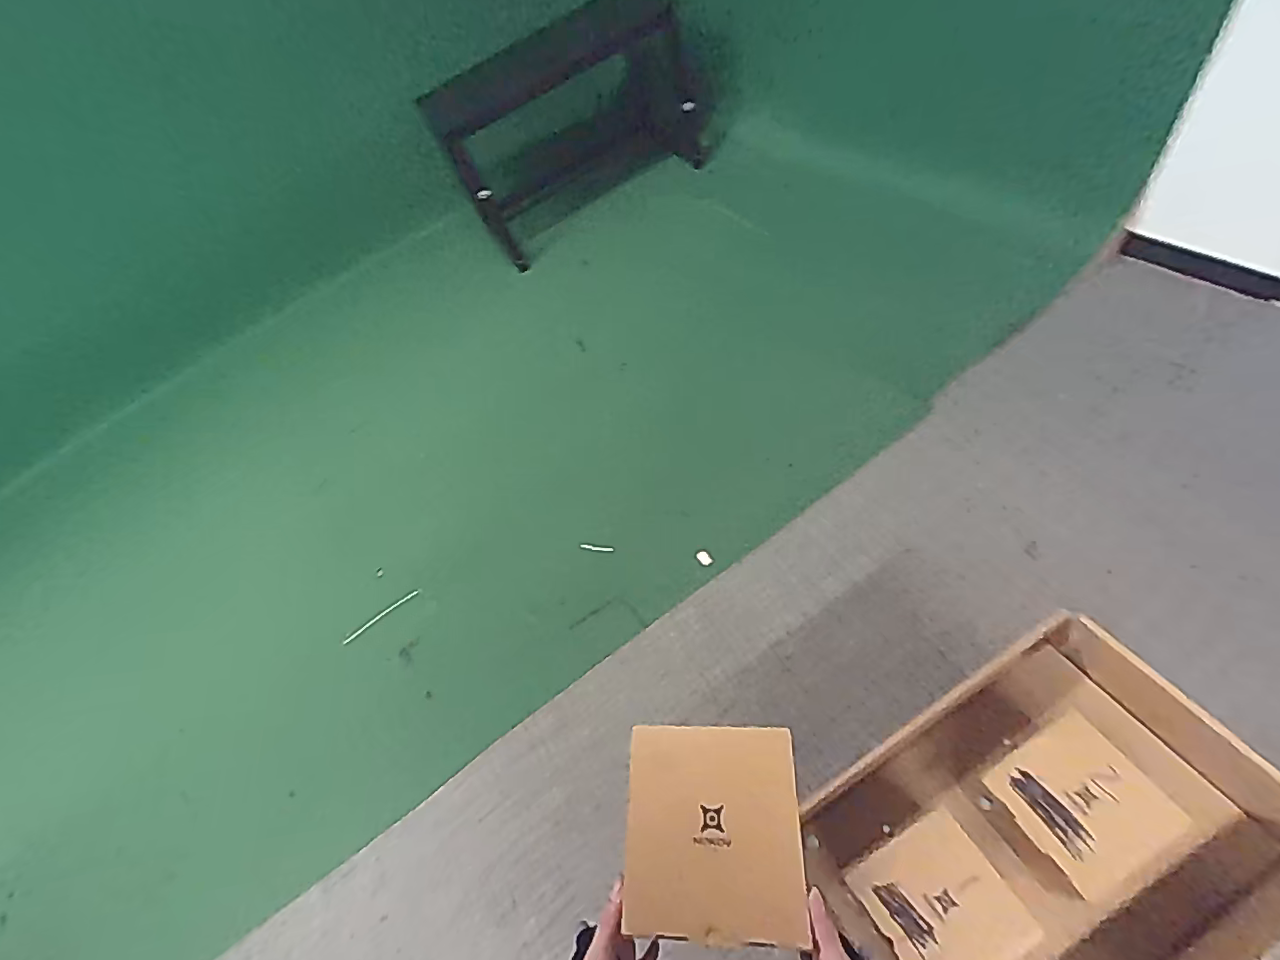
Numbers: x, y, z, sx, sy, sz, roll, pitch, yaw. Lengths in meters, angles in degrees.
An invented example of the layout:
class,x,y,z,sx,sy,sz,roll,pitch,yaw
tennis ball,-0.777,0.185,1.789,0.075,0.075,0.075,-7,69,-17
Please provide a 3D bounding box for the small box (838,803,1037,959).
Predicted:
class,x,y,z,sx,sy,sz,roll,pitch,yaw
small box,0.408,0.600,0.776,0.179,0.176,0.168,-32,54,-5

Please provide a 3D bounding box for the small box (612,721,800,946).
class,x,y,z,sx,sy,sz,roll,pitch,yaw
small box,0.070,0.369,0.579,0.168,0.176,0.179,-3,56,8
